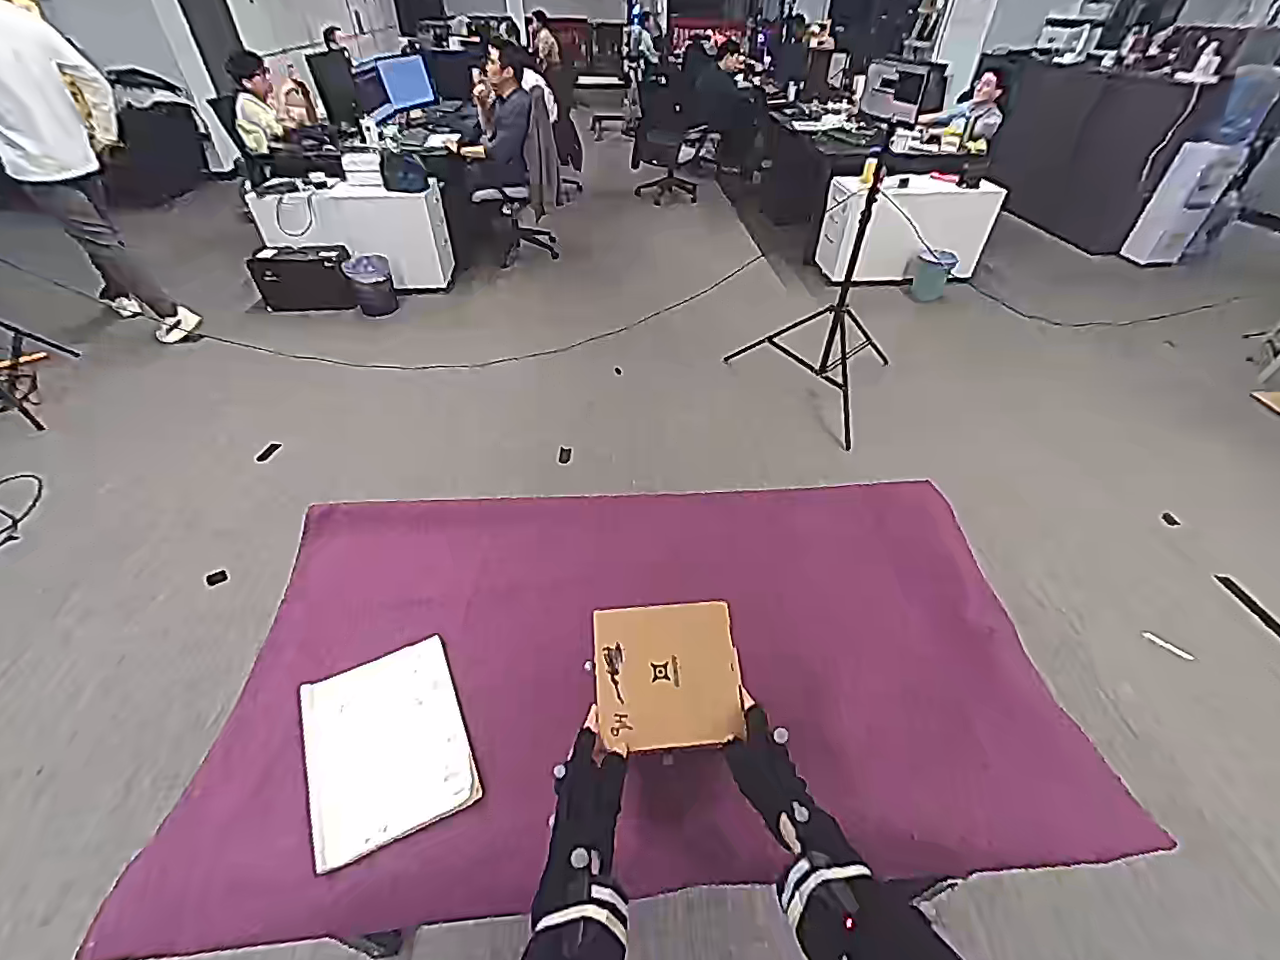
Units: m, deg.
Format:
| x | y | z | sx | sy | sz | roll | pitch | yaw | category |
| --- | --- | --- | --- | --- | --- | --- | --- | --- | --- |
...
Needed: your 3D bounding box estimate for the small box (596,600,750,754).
| x | y | z | sx | sy | sz | roll | pitch | yaw | category |
| --- | --- | --- | --- | --- | --- | --- | --- | --- | --- |
| 0.031 | 0.267 | 0.723 | 0.179 | 0.176 | 0.168 | -3 | 60 | -5 | small box |
